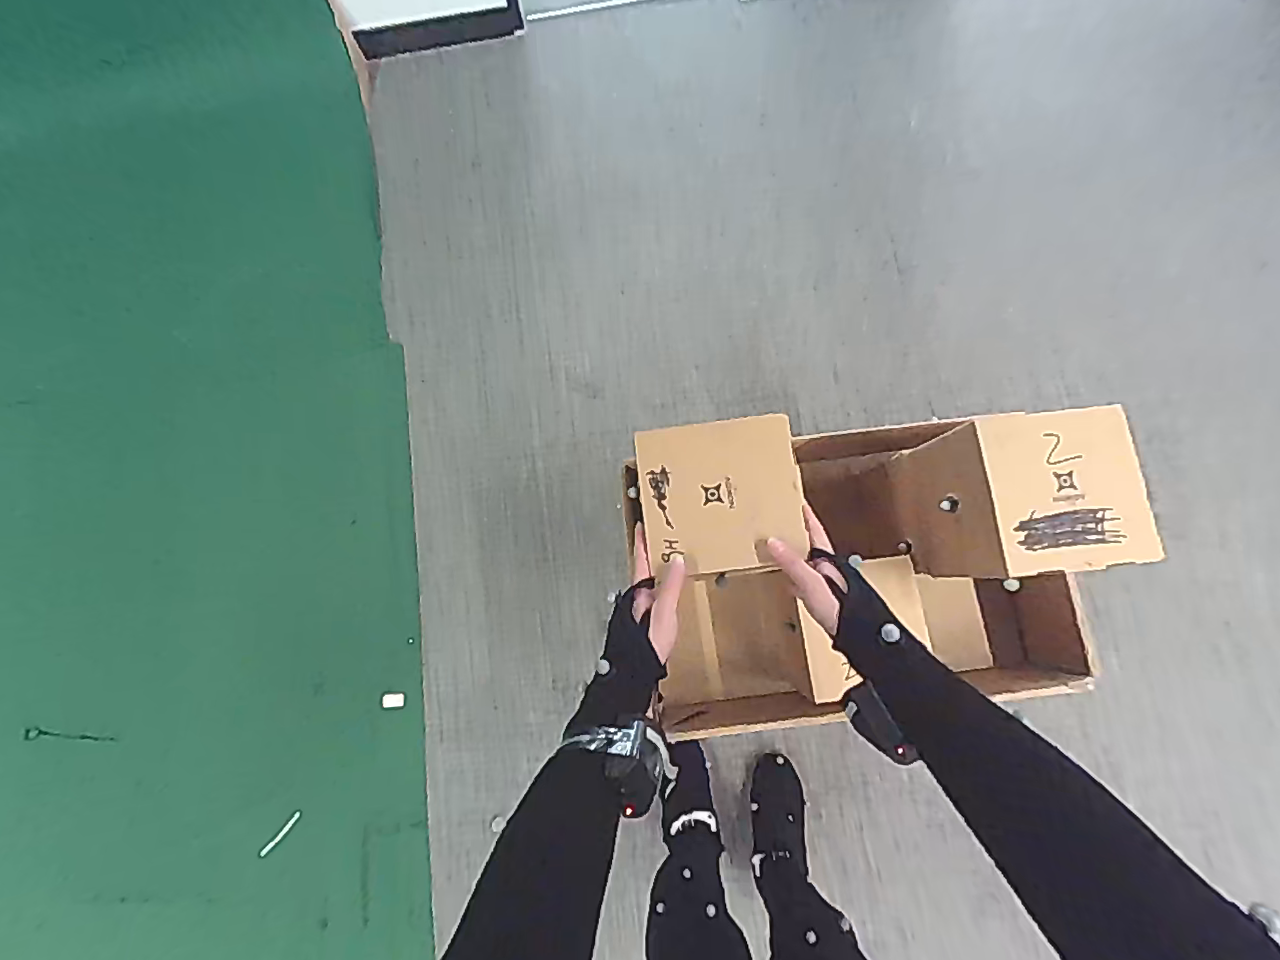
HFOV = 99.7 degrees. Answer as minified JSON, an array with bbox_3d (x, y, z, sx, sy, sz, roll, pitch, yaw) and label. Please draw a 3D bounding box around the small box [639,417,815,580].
[{"bbox_3d":[0.094,0.032,0.662,0.179,0.176,0.168,-6,78,1],"label":"small box"}]
